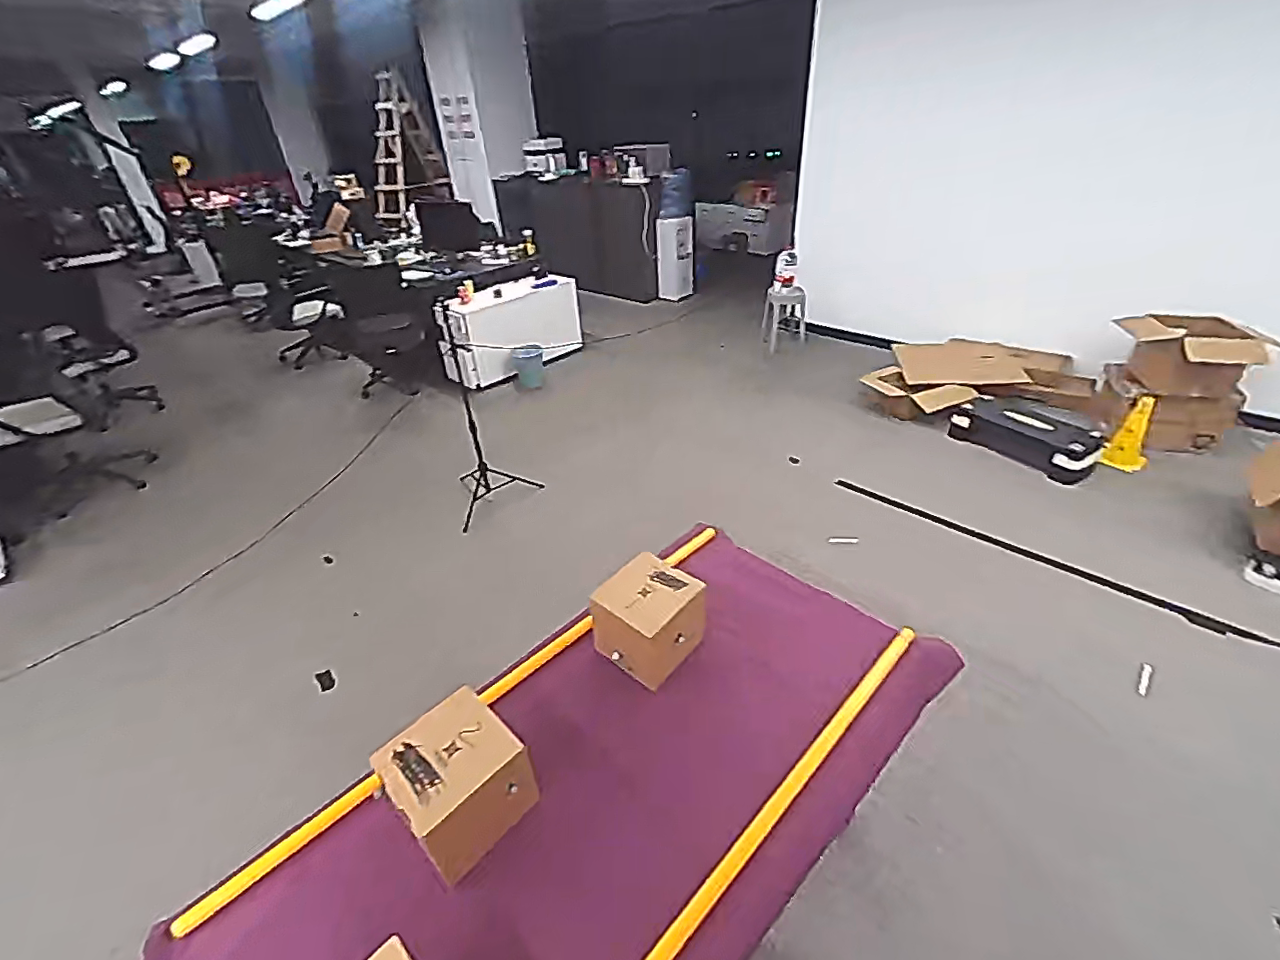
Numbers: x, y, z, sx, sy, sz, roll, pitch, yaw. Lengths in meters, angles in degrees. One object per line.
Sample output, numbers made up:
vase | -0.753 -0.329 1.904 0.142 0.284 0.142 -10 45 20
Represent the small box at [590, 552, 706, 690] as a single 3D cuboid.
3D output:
small box | 0.019 0.286 1.111 0.168 0.176 0.179 25 45 35
